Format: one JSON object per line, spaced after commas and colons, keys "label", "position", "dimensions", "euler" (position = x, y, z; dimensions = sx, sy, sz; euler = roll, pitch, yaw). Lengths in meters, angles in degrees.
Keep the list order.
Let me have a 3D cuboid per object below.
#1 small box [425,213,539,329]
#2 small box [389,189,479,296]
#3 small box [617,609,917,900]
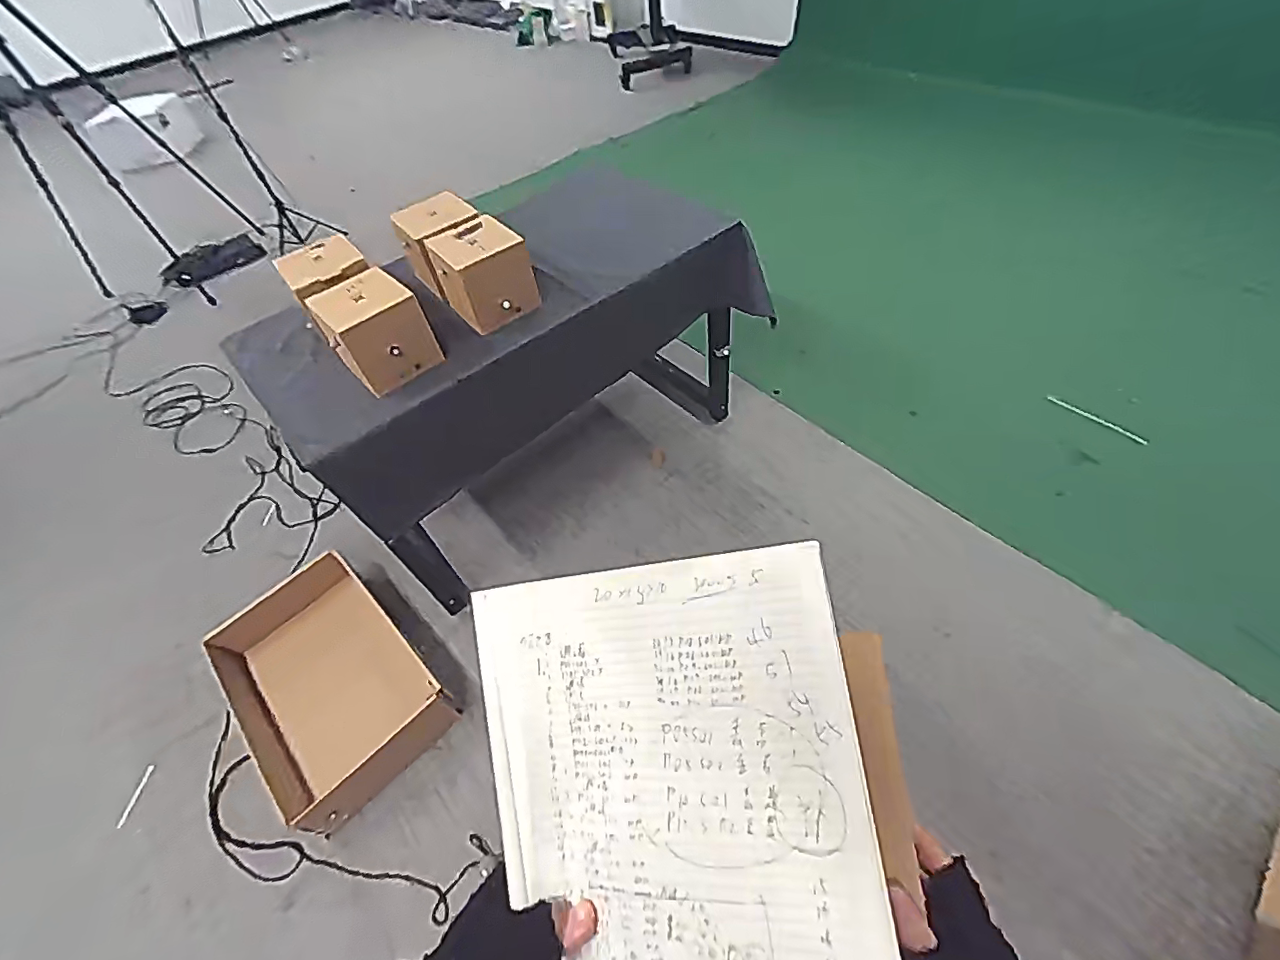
{"label": "small box", "position": [-0.357, -0.478, 1.242], "dimensions": [0.168, 0.176, 0.179], "euler": [-34, 56, -18]}
{"label": "small box", "position": [-0.487, -0.591, 1.352], "dimensions": [0.168, 0.176, 0.179], "euler": [-34, 56, -17]}
{"label": "small box", "position": [0.089, 0.202, 0.422], "dimensions": [0.179, 0.176, 0.168], "euler": [-4, 61, 11]}
